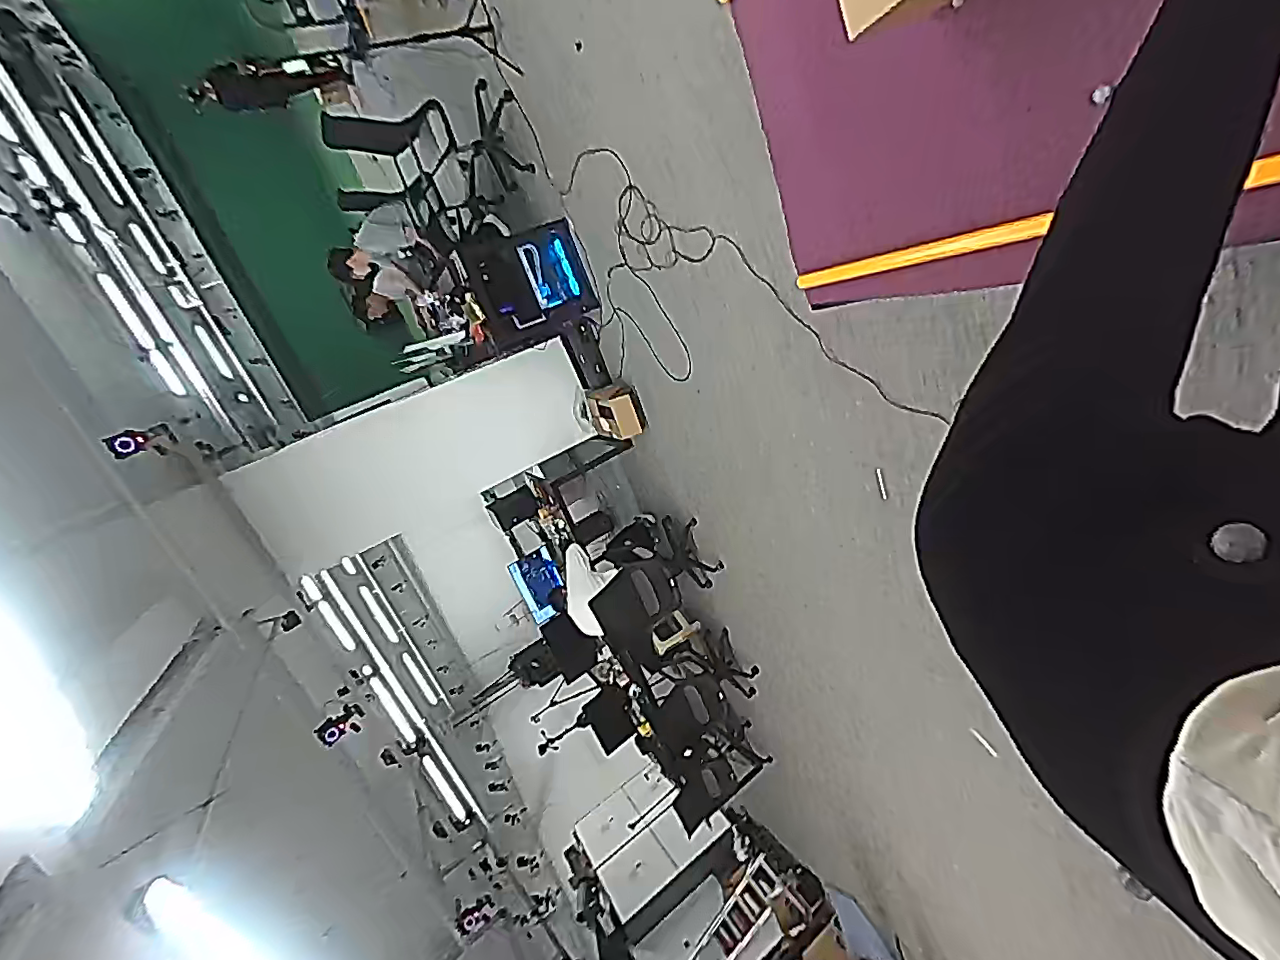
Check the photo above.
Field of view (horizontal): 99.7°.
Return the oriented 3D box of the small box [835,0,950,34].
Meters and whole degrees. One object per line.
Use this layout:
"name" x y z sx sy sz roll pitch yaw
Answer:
"small box" 0.326 -0.656 0.605 0.168 0.176 0.179 13 130 63
